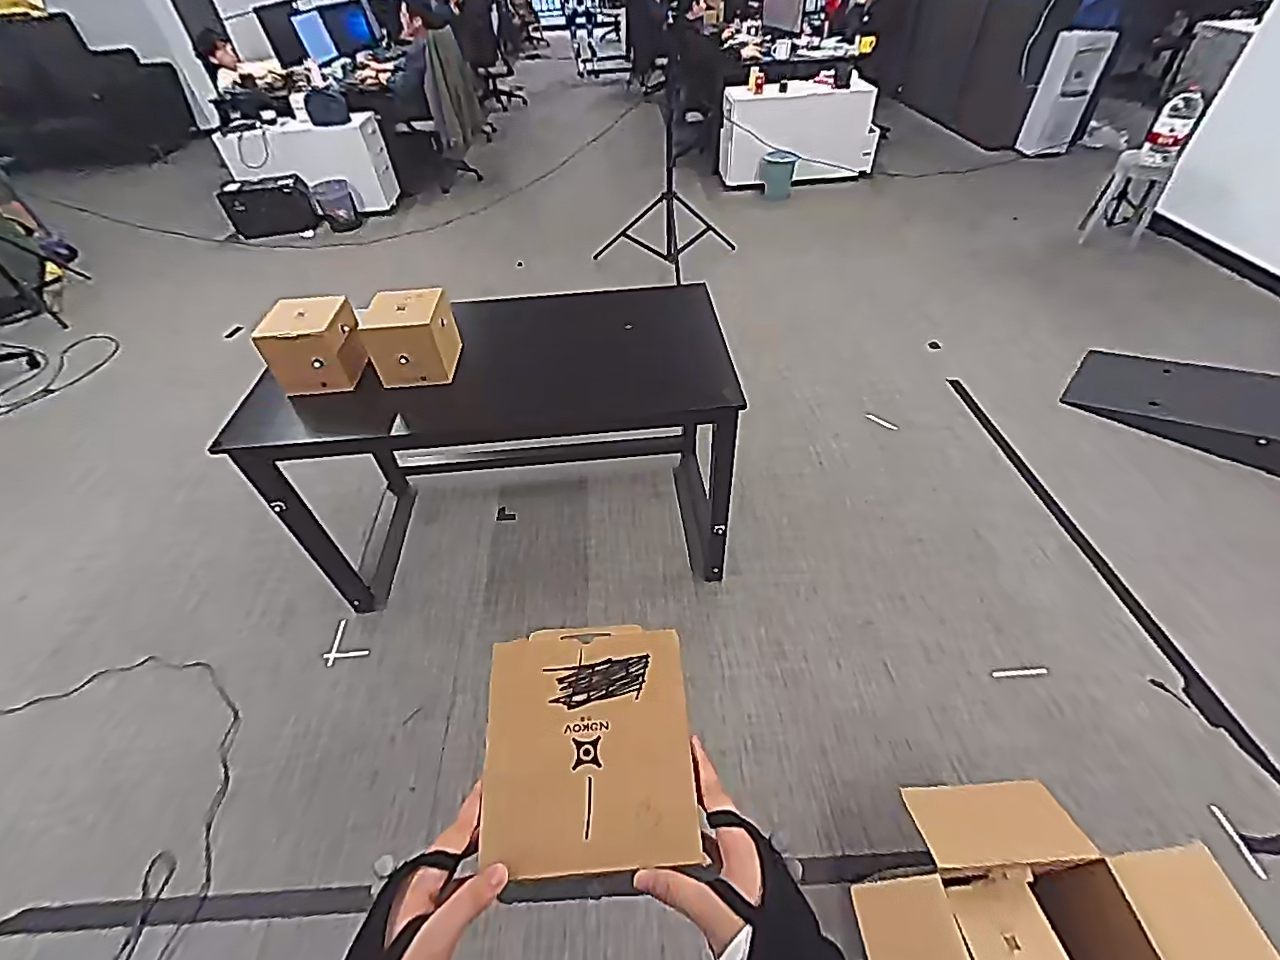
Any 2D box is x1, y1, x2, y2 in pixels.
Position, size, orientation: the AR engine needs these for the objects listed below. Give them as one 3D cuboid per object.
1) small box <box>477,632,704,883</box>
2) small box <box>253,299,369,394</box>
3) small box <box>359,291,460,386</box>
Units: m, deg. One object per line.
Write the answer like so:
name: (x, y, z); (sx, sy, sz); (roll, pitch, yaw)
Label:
small box: (-0.040, 0.258, 0.499); (0.168, 0.176, 0.179); (-4, 54, -2)
small box: (-0.795, -0.323, 1.332); (0.168, 0.176, 0.179); (-4, 45, -2)
small box: (-0.557, -0.343, 1.334); (0.168, 0.176, 0.179); (-4, 46, -1)
